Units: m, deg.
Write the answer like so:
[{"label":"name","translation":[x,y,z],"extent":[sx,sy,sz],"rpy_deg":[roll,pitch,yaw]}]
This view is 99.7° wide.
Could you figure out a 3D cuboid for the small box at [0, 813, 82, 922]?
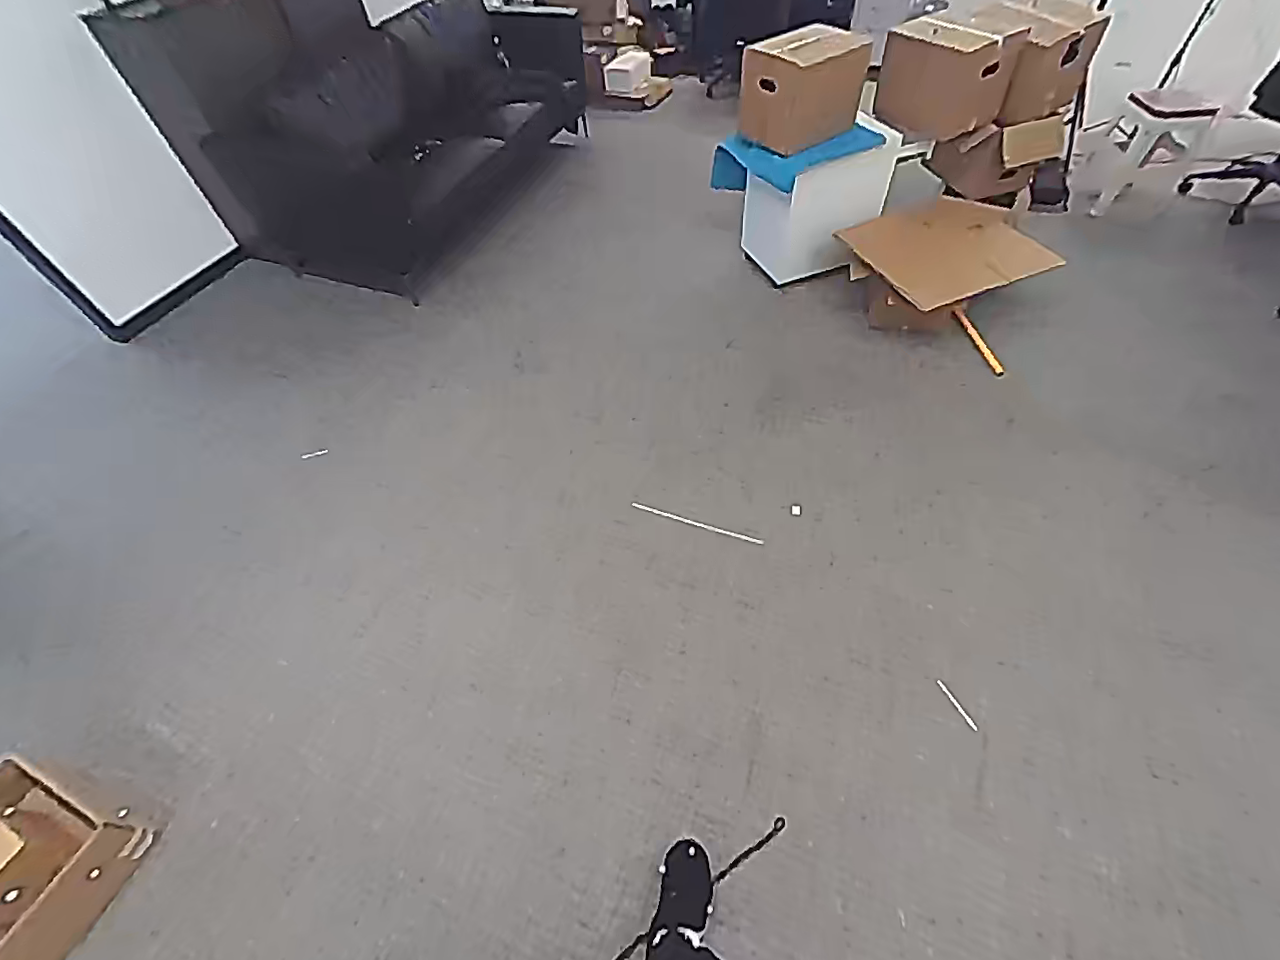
[{"label":"small box","translation":[-1.501,0.910,1.272],"extent":[0.179,0.176,0.168],"rpy_deg":[19,57,18]}]
